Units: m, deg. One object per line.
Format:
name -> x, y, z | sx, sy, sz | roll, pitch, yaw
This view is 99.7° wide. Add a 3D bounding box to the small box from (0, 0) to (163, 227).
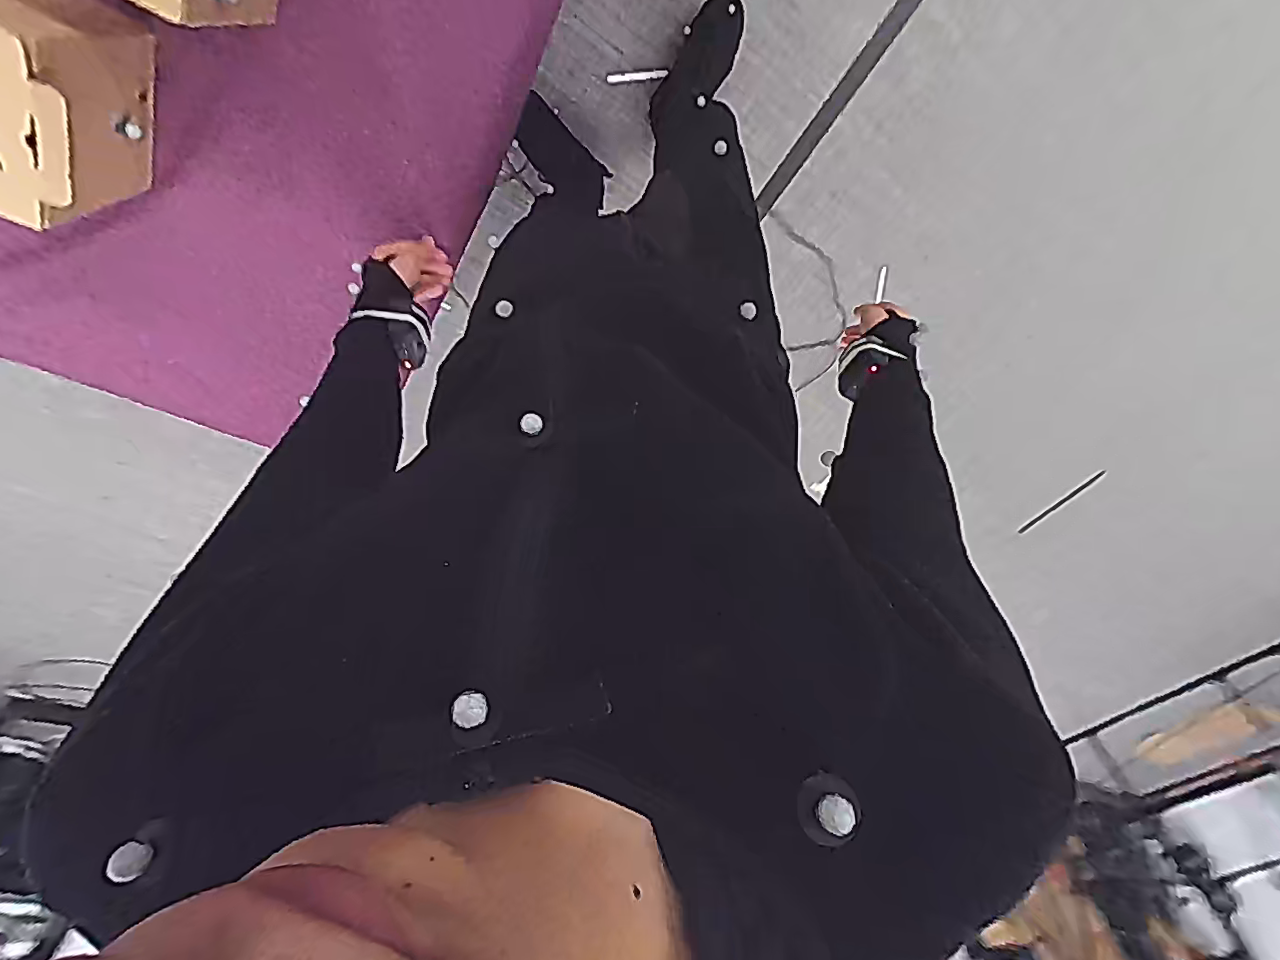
small box -> -0.594, -0.372, 0.496 | 0.179, 0.176, 0.168 | 21, 126, -23
